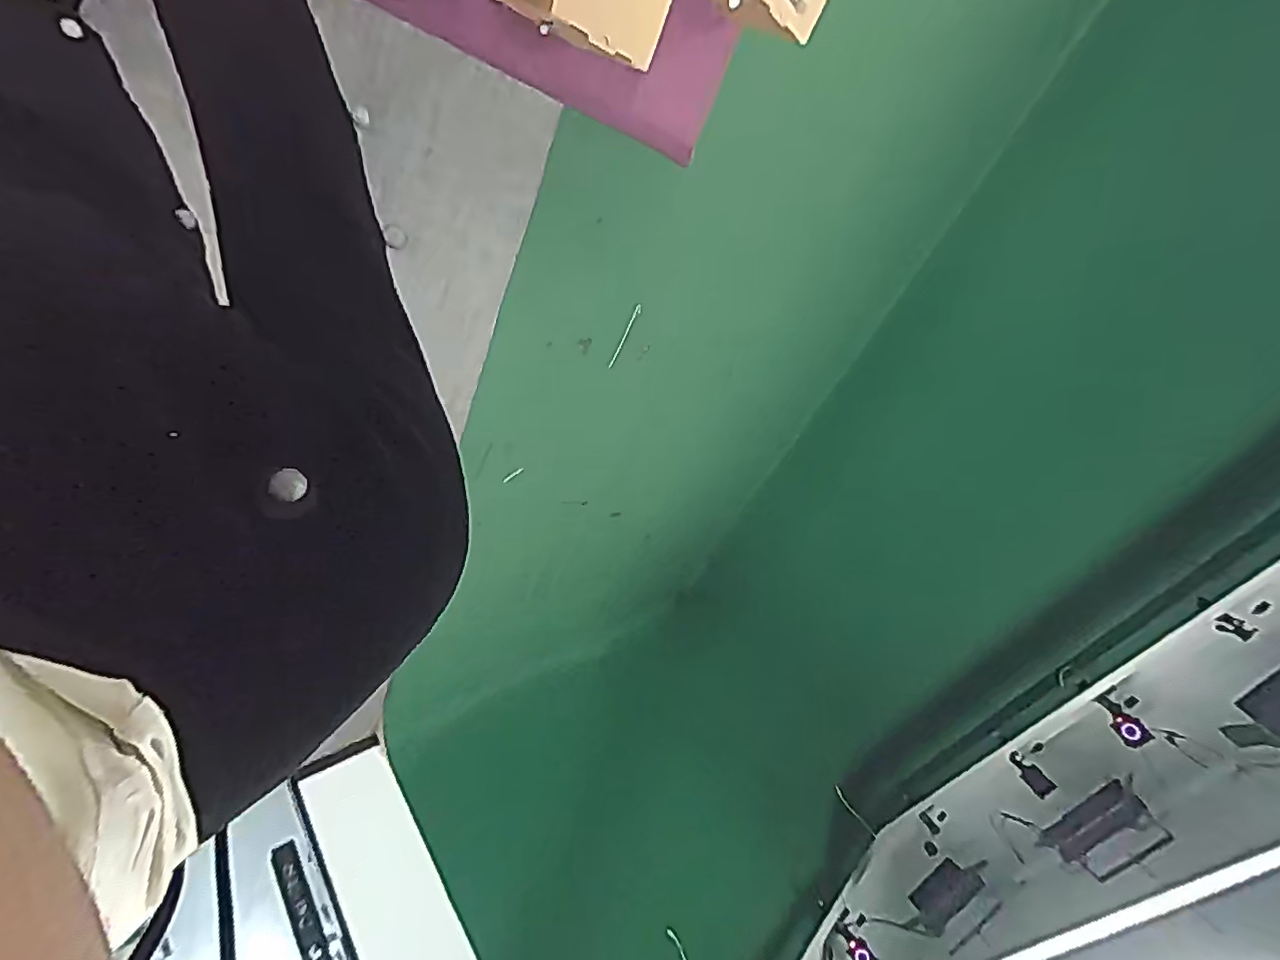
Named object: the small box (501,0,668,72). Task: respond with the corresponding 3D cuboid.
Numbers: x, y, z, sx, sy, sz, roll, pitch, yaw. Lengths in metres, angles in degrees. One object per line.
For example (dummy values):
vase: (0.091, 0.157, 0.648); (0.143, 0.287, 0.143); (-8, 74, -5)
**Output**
small box: (-0.069, -0.655, 0.663); (0.168, 0.176, 0.179); (-11, 139, -46)
